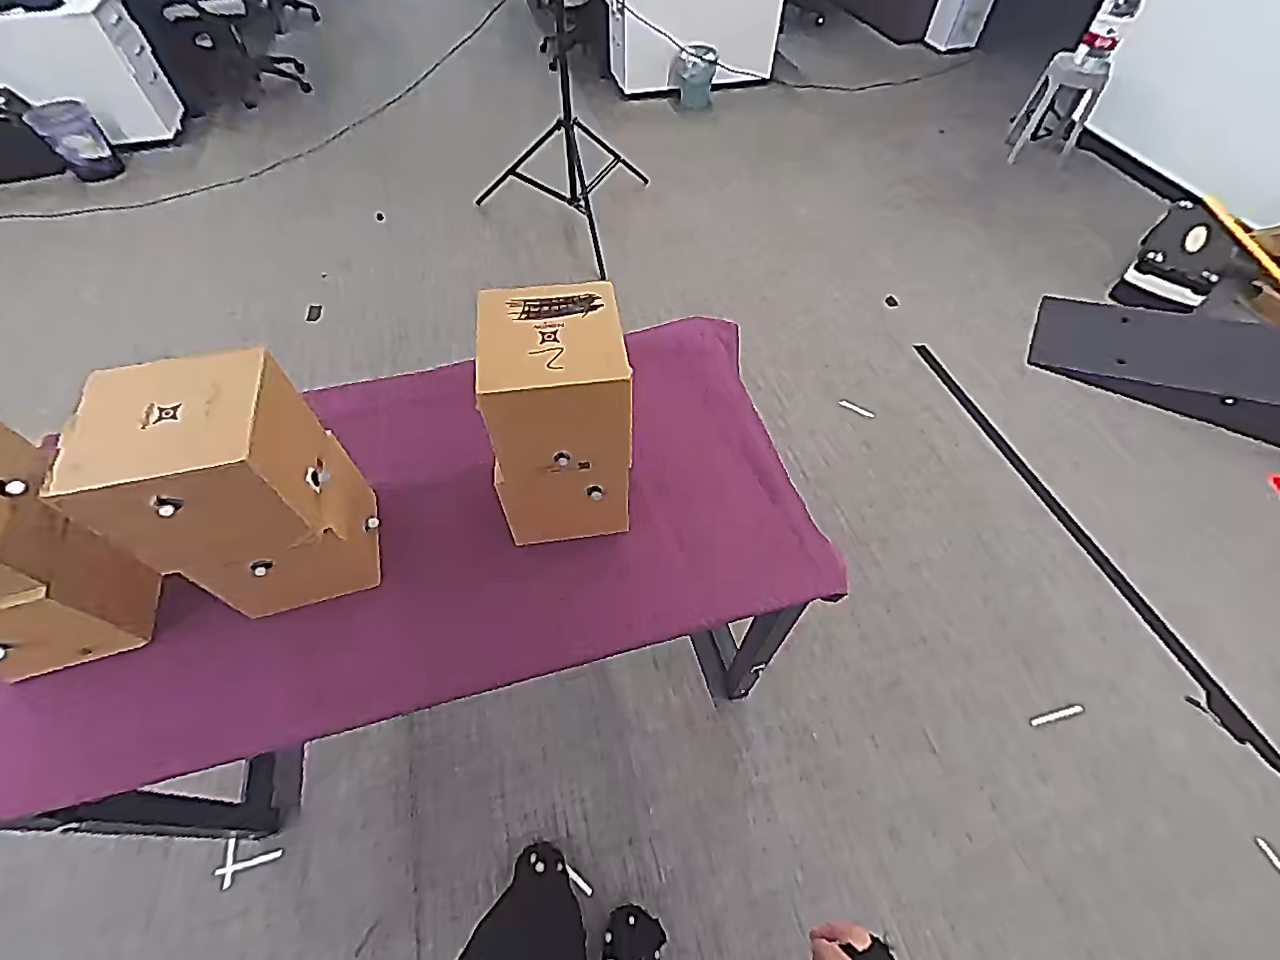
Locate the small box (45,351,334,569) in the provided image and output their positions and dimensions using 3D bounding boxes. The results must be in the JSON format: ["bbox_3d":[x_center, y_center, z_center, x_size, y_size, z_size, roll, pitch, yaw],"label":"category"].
[{"bbox_3d":[-0.477,-0.017,0.610,0.179,0.176,0.168,-12,57,-10],"label":"small box"}]

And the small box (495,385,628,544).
[{"bbox_3d":[-0.114,-0.020,0.814,0.179,0.176,0.168,-7,54,-5],"label":"small box"}]

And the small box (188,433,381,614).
[{"bbox_3d":[-0.482,0.065,0.750,0.179,0.176,0.168,-14,56,-12],"label":"small box"}]

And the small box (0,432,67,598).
[{"bbox_3d":[-0.770,0.035,0.568,0.179,0.176,0.168,-17,56,-13],"label":"small box"}]

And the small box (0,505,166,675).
[{"bbox_3d":[-0.764,0.134,0.699,0.168,0.176,0.179,-16,56,-11],"label":"small box"}]
